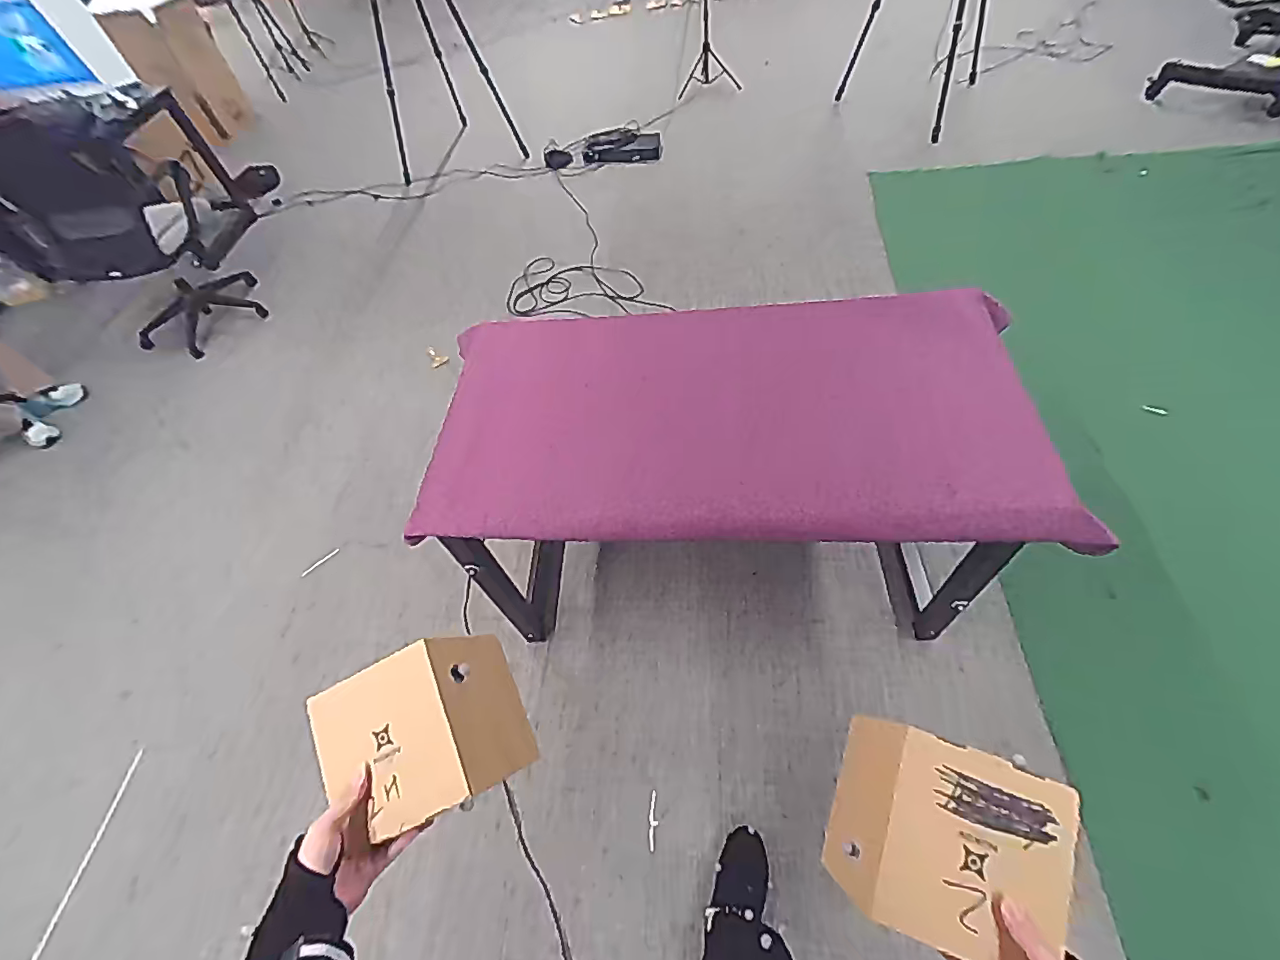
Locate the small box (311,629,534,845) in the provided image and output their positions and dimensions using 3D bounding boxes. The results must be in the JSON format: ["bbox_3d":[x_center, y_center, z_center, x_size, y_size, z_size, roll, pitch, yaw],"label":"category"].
[{"bbox_3d":[-0.258,0.299,0.666,0.168,0.176,0.179,-28,71,7],"label":"small box"}]
